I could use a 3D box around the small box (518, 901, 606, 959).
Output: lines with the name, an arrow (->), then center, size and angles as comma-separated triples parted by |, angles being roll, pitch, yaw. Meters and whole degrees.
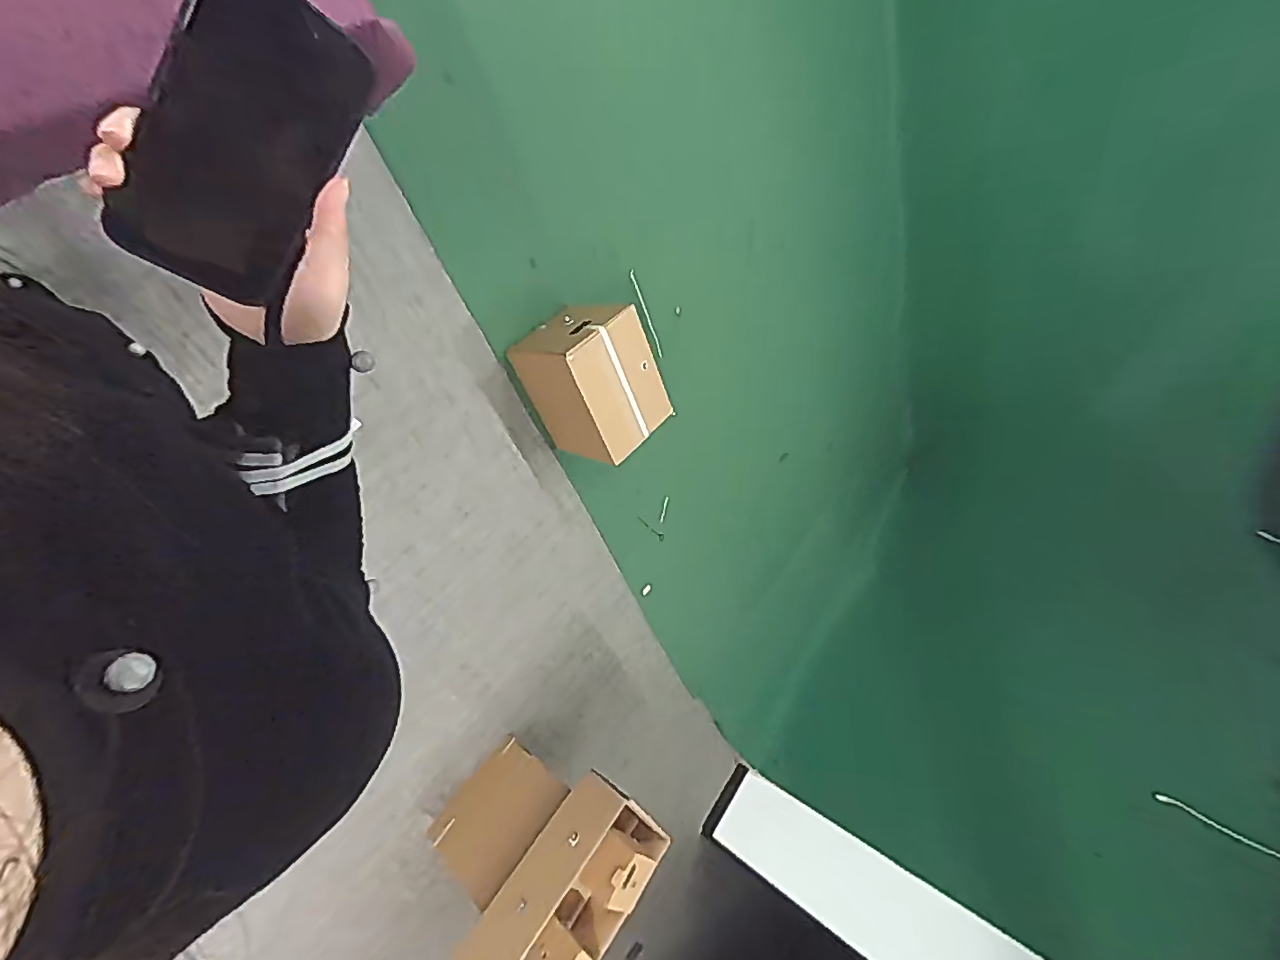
small box -> -0.237, 1.426, 1.630 | 0.168, 0.176, 0.179 | -41, 127, -30
